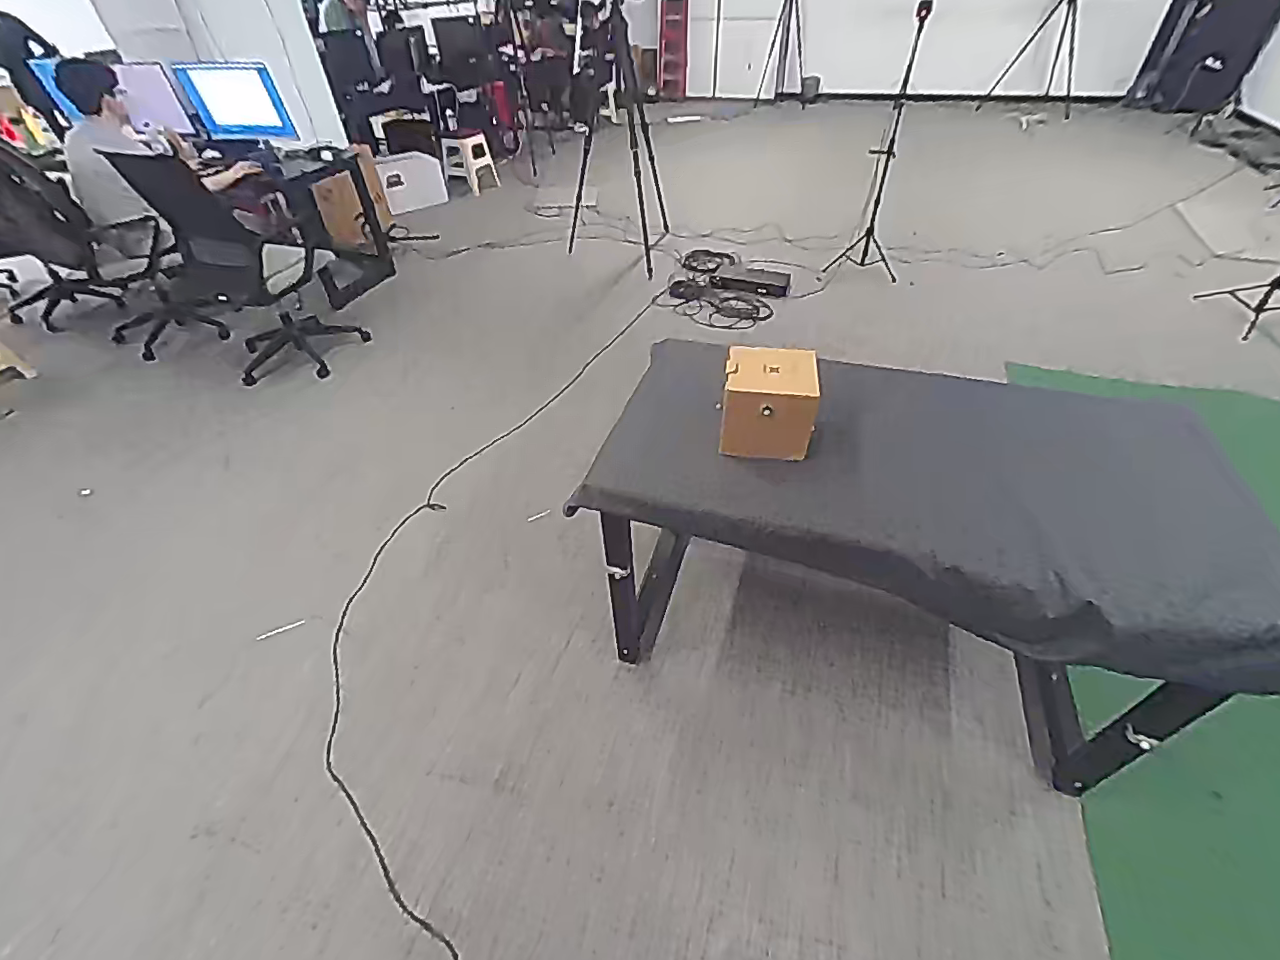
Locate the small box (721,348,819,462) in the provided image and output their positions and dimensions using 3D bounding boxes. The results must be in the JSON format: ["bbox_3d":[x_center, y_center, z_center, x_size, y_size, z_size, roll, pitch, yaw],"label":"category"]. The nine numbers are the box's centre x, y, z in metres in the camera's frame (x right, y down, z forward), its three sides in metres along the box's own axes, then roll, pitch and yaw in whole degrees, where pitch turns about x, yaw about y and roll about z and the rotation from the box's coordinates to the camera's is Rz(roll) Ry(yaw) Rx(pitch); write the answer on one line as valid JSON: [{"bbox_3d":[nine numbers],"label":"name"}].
[{"bbox_3d":[0.264,-0.155,1.125,0.179,0.176,0.168,6,45,7],"label":"small box"}]
